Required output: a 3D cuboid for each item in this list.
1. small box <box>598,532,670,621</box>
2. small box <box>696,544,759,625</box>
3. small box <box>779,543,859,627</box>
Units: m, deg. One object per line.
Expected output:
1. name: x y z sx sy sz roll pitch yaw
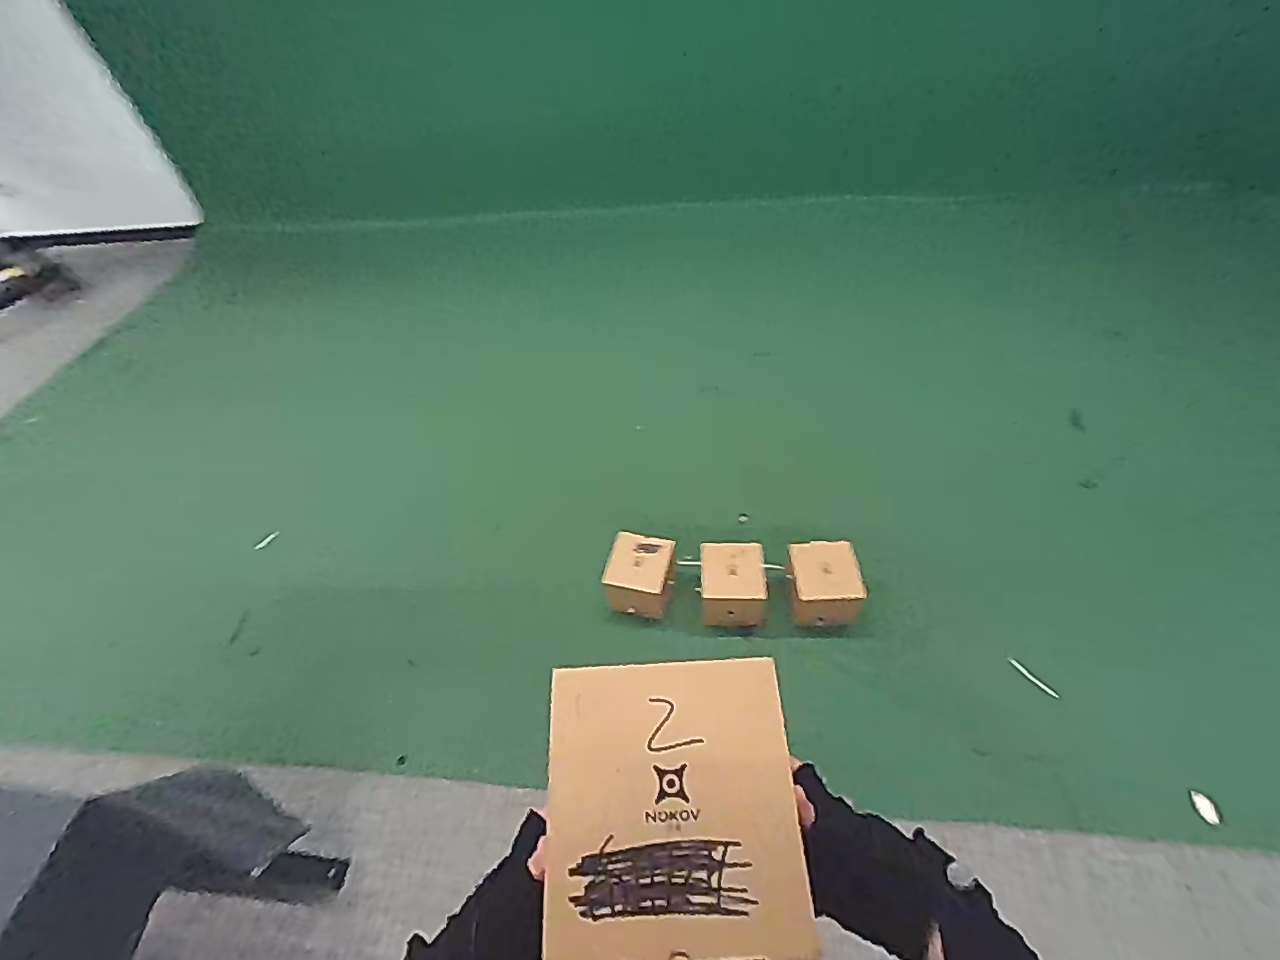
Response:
1. small box: -0.010 0.282 1.575 0.168 0.176 0.179 9 53 14
2. small box: 0.245 0.299 1.533 0.168 0.176 0.179 0 50 5
3. small box: 0.492 0.295 1.514 0.168 0.176 0.179 -3 50 4
